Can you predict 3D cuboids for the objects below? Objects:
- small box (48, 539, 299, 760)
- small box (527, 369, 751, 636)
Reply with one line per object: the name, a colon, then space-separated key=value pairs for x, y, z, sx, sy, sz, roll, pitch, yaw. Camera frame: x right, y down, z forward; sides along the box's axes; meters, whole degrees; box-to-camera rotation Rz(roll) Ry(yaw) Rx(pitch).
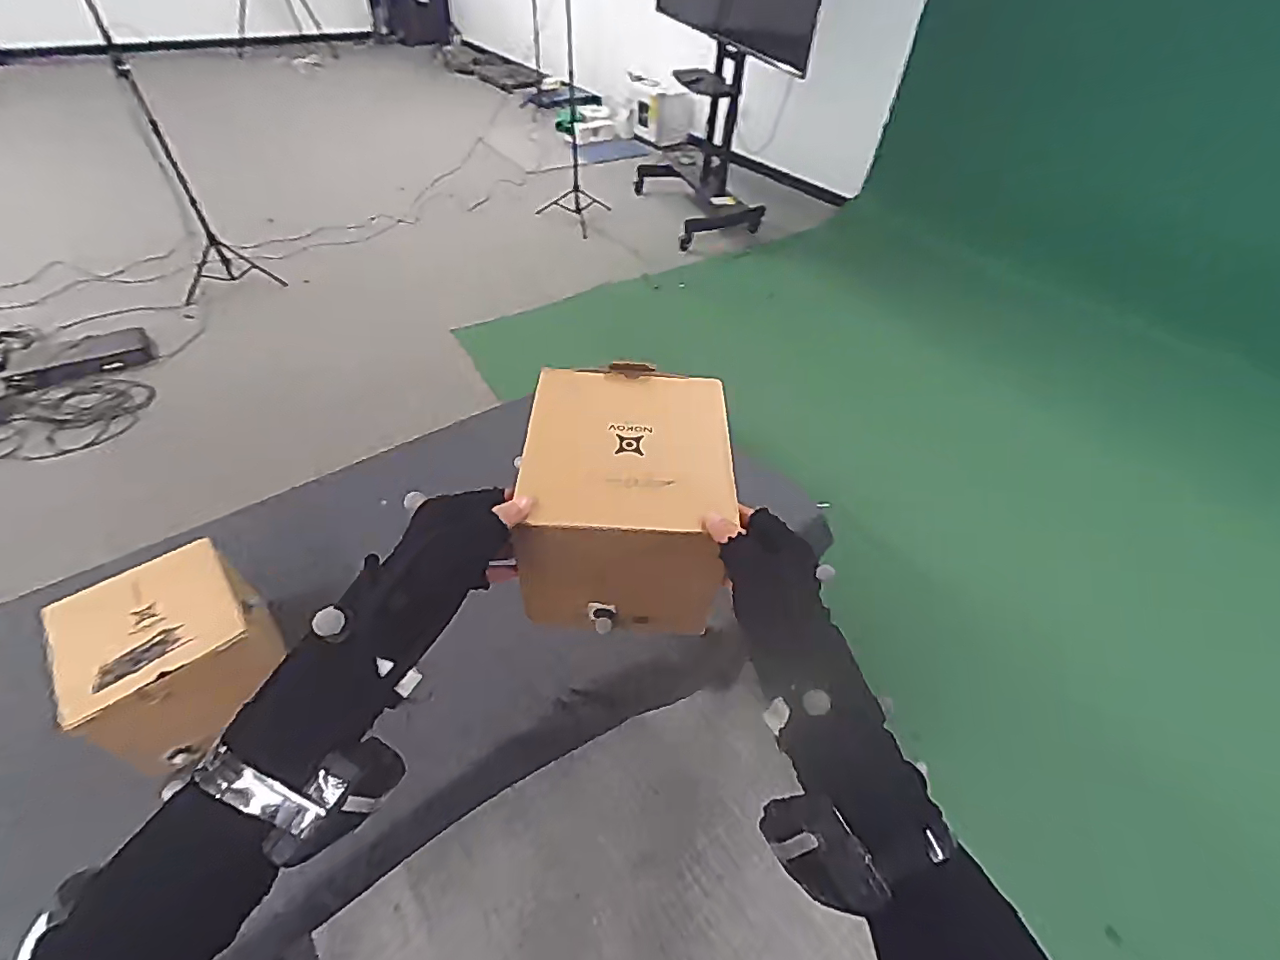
small box: x=-0.559 y=0.213 z=0.668 sx=0.168 sy=0.176 sz=0.179 roll=-30 pitch=55 yaw=-29
small box: x=-0.004 y=0.023 z=0.500 sx=0.168 sy=0.176 sz=0.179 roll=4 pitch=50 yaw=-2
